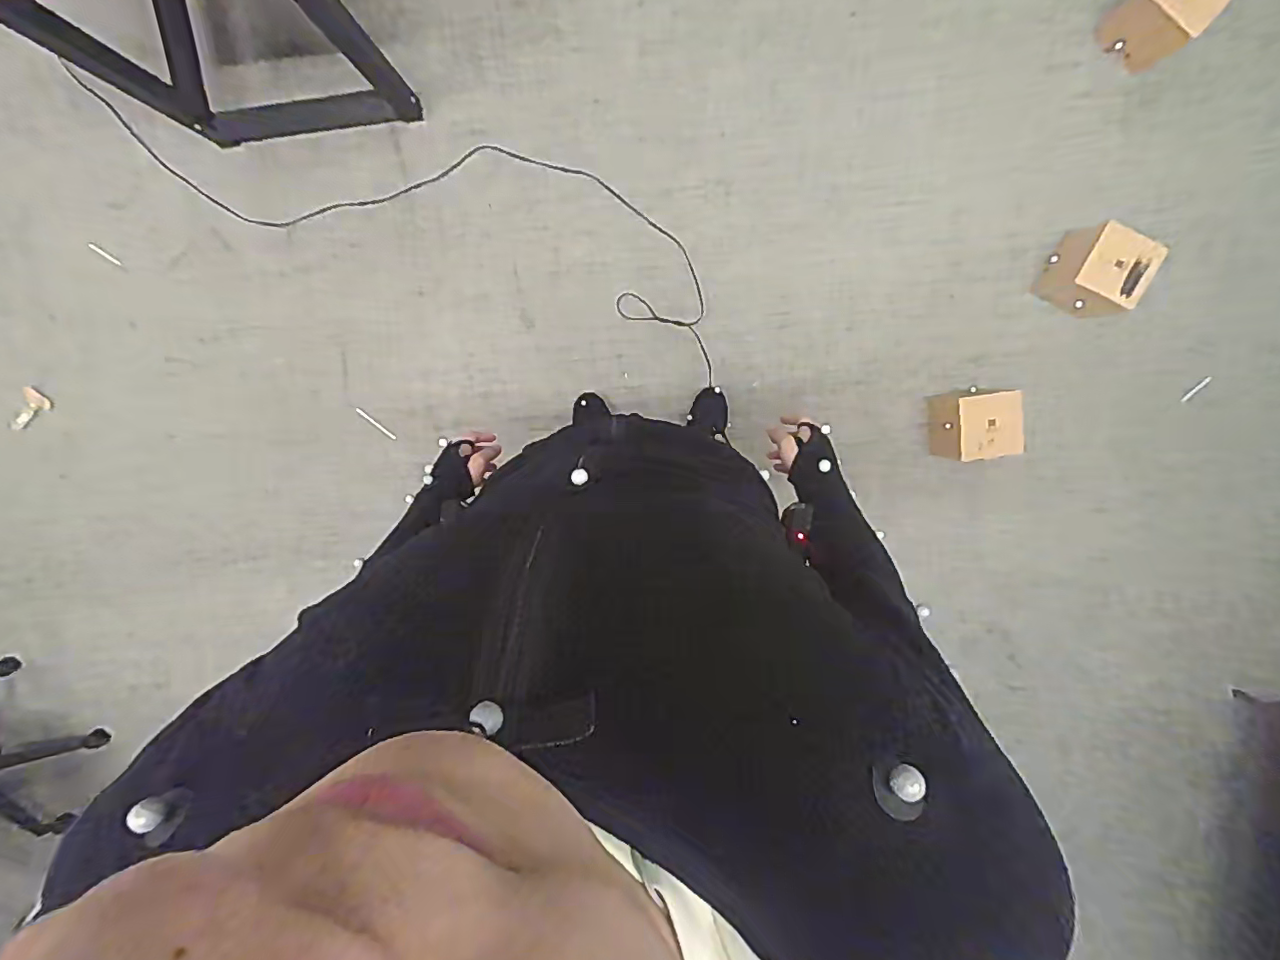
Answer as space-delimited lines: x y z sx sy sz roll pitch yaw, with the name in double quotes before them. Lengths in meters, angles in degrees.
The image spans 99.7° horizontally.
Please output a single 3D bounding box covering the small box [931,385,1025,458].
"small box" 0.934 -0.167 1.507 0.168 0.176 0.179 -8 101 3
